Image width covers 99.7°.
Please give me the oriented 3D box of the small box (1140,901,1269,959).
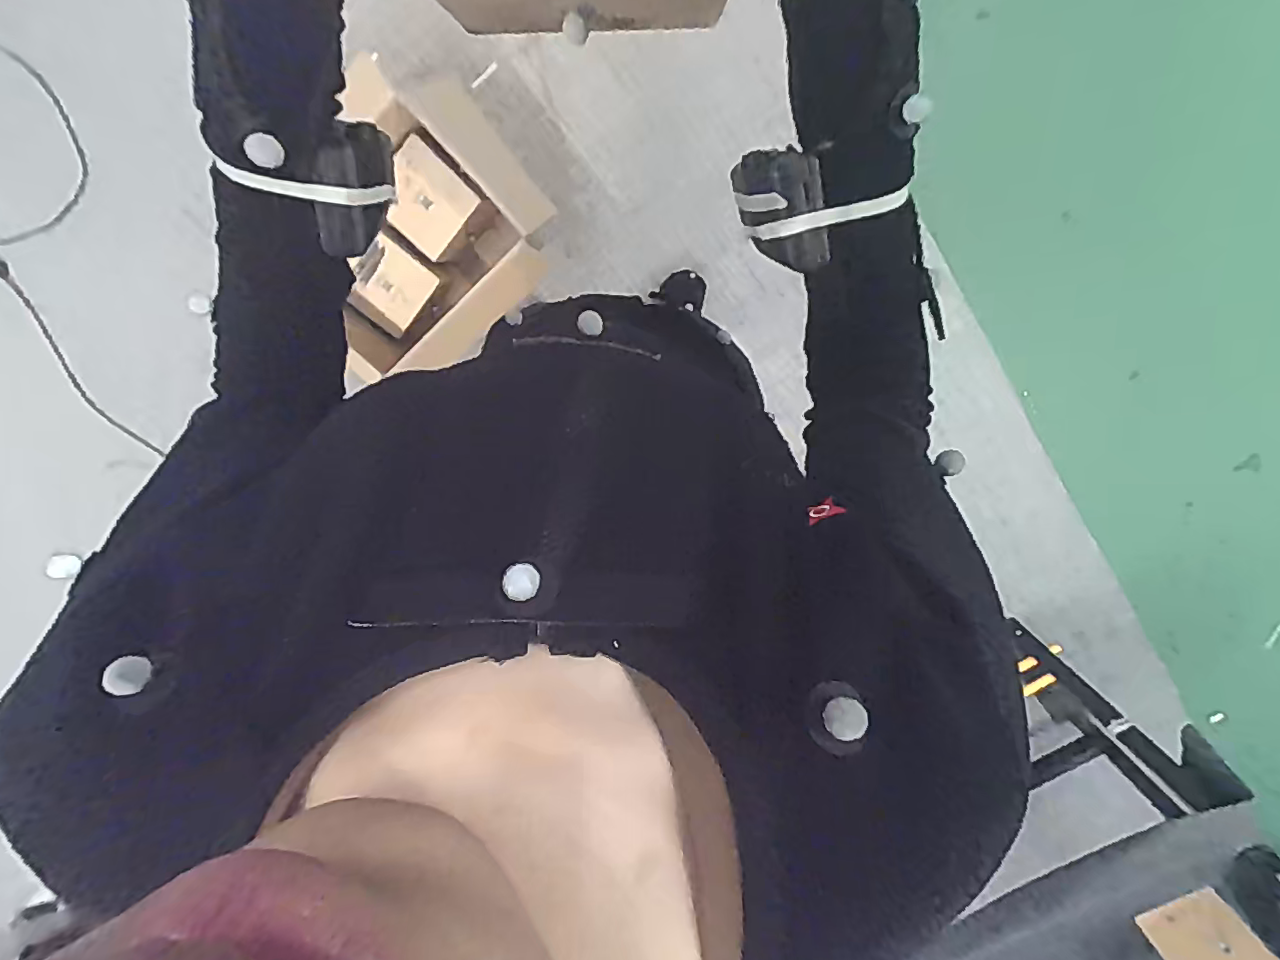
[{"bbox_3d":[1.185,1.005,1.099,0.168,0.176,0.179,-39,108,13],"label":"small box"}]
